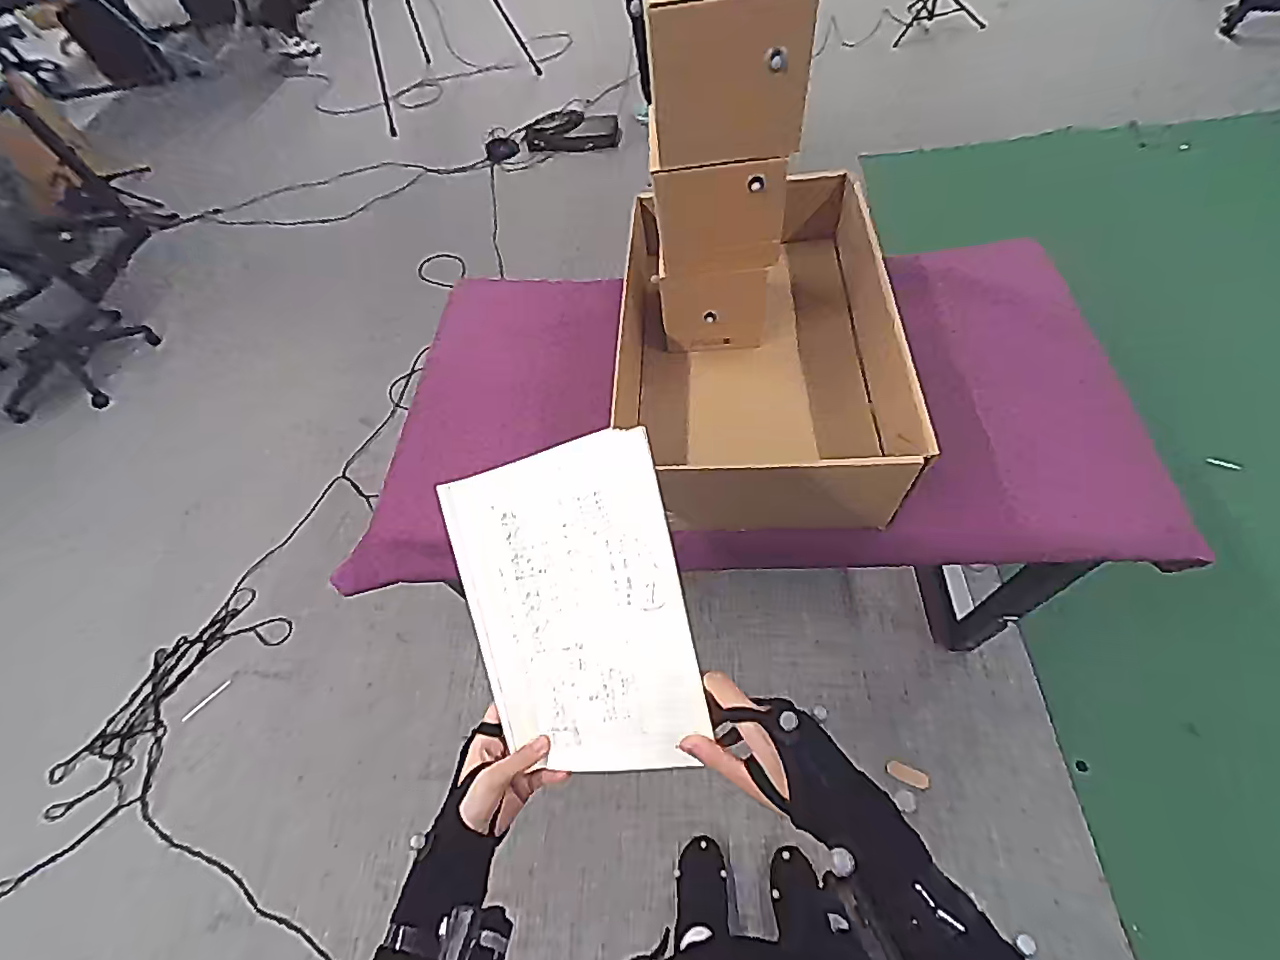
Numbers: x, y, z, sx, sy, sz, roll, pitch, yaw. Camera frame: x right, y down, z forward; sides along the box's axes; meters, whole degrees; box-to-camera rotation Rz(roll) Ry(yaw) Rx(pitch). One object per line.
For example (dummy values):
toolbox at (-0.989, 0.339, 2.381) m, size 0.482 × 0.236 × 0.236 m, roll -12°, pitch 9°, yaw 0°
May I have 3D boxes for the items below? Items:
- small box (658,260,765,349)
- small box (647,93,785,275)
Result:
small box at (0.124, -0.340, 0.926) m, size 0.168 × 0.176 × 0.179 m, roll -2°, pitch 60°, yaw 8°
small box at (0.107, -0.420, 0.786) m, size 0.179 × 0.176 × 0.168 m, roll -4°, pitch 60°, yaw 6°
